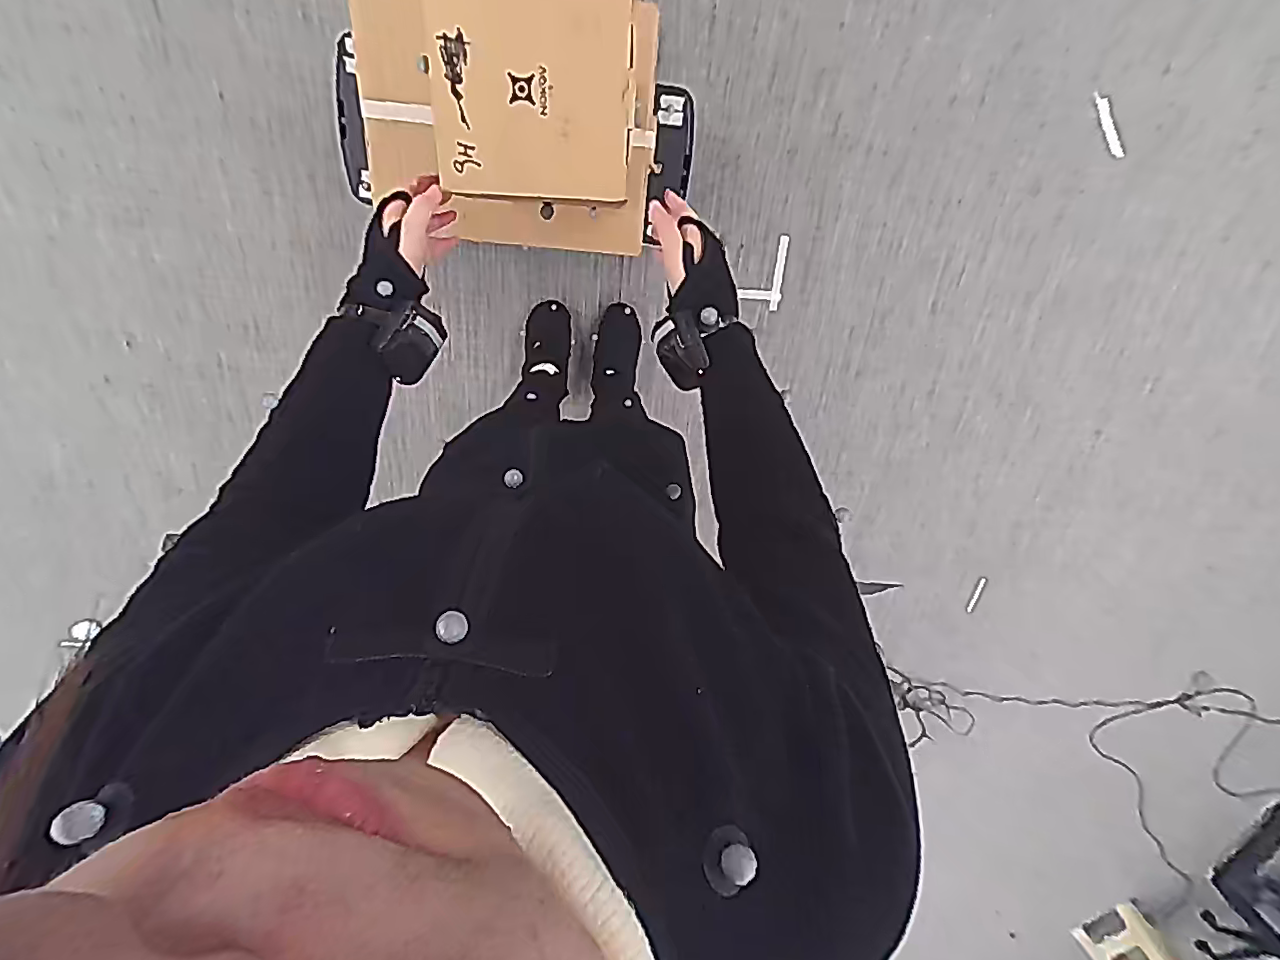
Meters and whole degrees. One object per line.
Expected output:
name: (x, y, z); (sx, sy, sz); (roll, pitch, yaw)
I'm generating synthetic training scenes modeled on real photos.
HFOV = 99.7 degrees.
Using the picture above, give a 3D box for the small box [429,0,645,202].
small box: (-0.093, -0.375, 0.534); (0.179, 0.176, 0.168); (1, 114, -5)

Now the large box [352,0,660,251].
large box: (-0.185, -0.569, 0.889); (0.408, 0.320, 0.320); (4, 115, -4)
